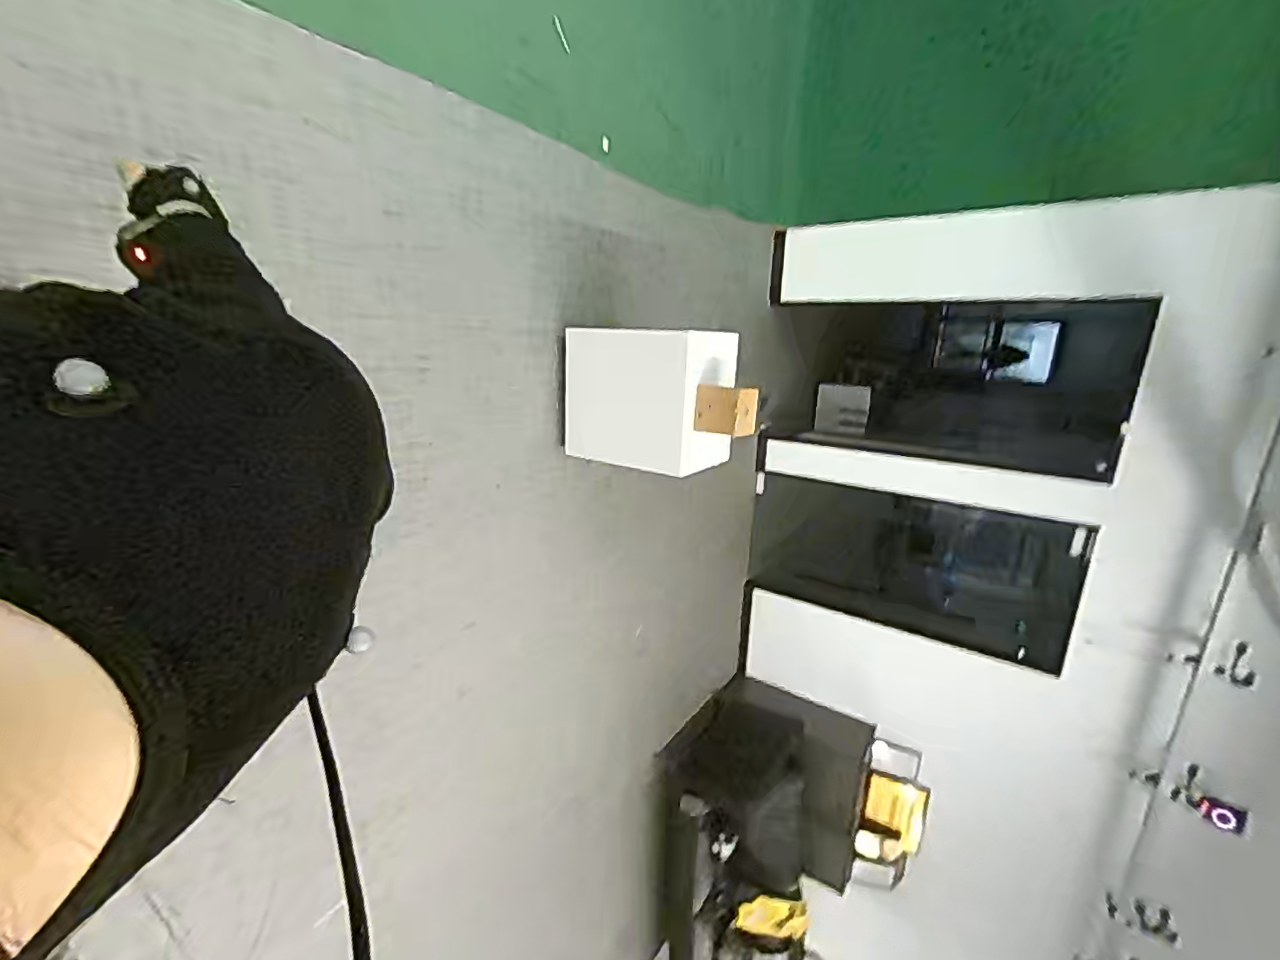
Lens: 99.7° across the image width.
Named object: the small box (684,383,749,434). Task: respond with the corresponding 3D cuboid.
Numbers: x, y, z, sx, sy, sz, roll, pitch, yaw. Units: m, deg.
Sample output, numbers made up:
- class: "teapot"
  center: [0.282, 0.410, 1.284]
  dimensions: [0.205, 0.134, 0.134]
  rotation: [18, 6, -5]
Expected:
- class: "small box"
  center: [0.278, -0.264, 1.960]
  dimensions: [0.179, 0.176, 0.168]
  rotation: [-15, 112, -56]
